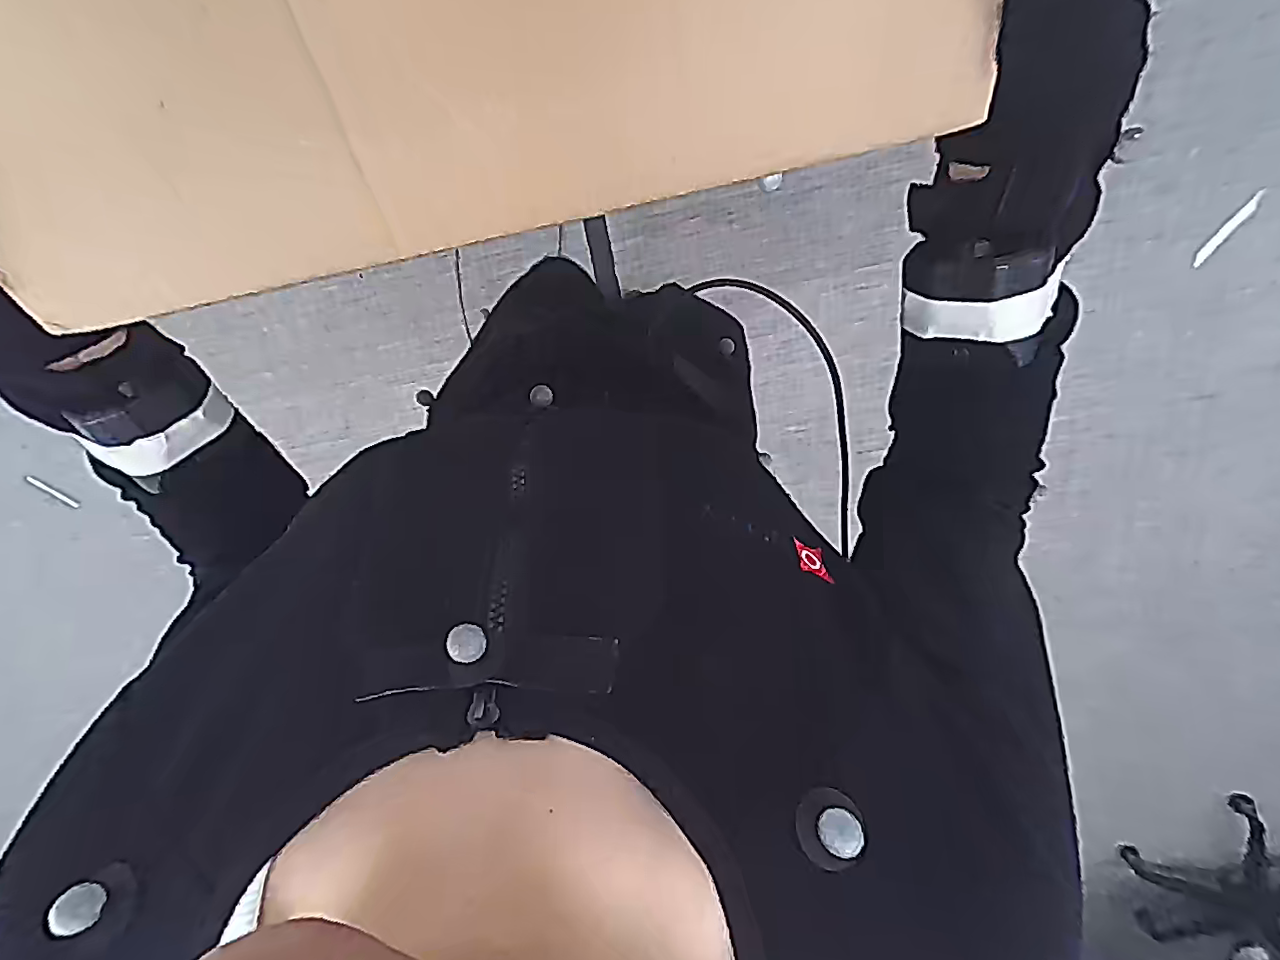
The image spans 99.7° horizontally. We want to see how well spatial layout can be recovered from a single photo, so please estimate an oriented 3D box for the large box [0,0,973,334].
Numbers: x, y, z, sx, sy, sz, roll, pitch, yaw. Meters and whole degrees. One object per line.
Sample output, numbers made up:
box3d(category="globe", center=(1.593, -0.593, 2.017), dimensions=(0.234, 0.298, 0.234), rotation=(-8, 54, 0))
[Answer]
box3d(category="large box", center=(-0.101, -0.314, 0.264), dimensions=(0.408, 0.320, 0.320), rotation=(-11, 126, 5))
